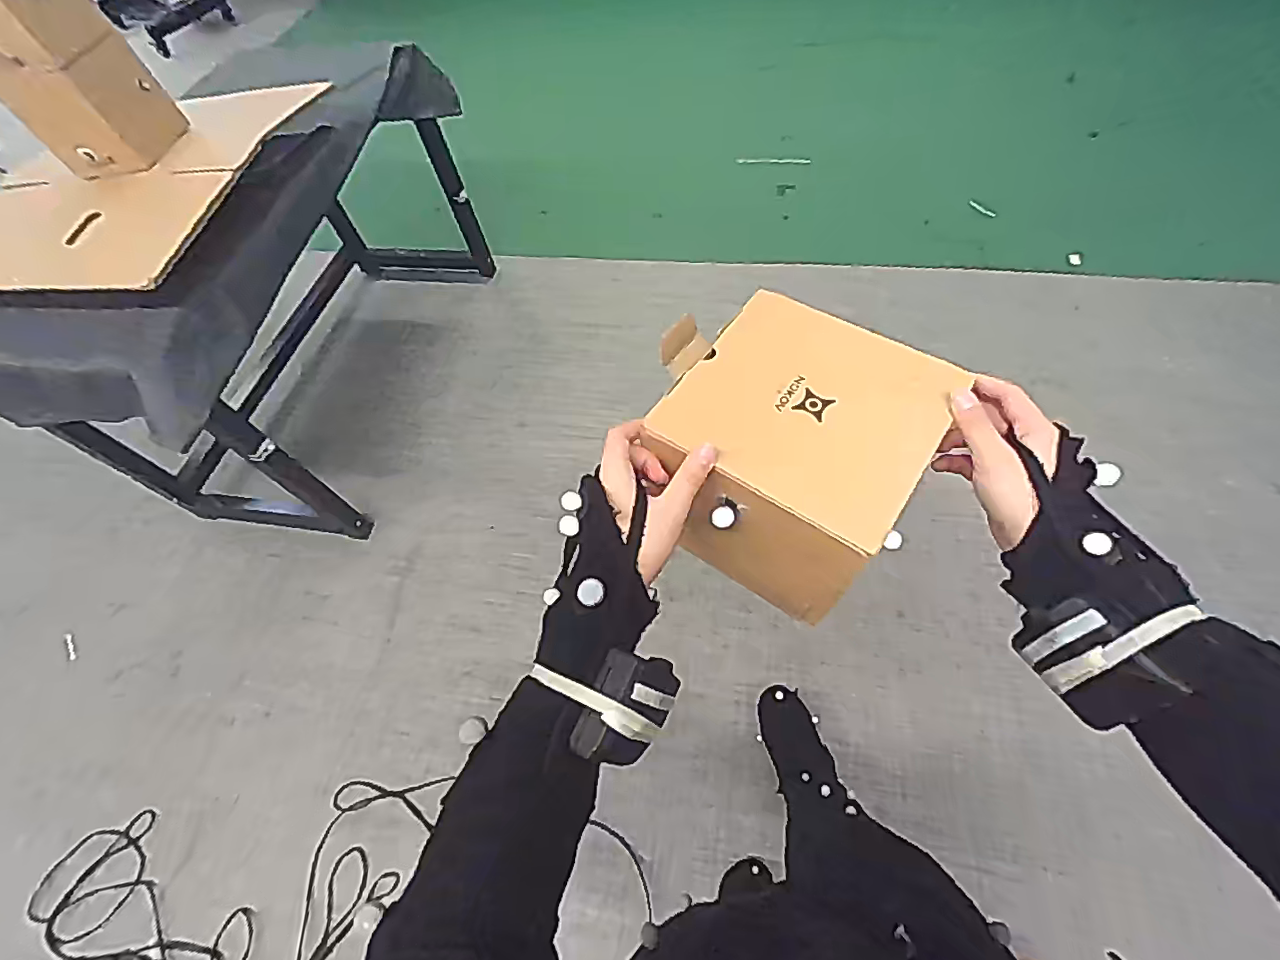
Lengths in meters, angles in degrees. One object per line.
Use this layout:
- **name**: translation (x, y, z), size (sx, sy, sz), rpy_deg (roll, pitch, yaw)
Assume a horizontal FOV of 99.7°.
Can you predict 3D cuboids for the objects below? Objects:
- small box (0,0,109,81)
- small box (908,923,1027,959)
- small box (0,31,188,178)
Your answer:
- **small box**: translation (-1.059, -0.801, 0.900), size (0.168, 0.176, 0.179), rpy_deg (-4, 58, 8)
- **small box**: translation (0.545, 0.856, 0.874), size (0.168, 0.176, 0.179), rpy_deg (9, 60, 12)
- **small box**: translation (-1.031, -0.713, 1.036), size (0.168, 0.176, 0.179), rpy_deg (-4, 58, 9)
